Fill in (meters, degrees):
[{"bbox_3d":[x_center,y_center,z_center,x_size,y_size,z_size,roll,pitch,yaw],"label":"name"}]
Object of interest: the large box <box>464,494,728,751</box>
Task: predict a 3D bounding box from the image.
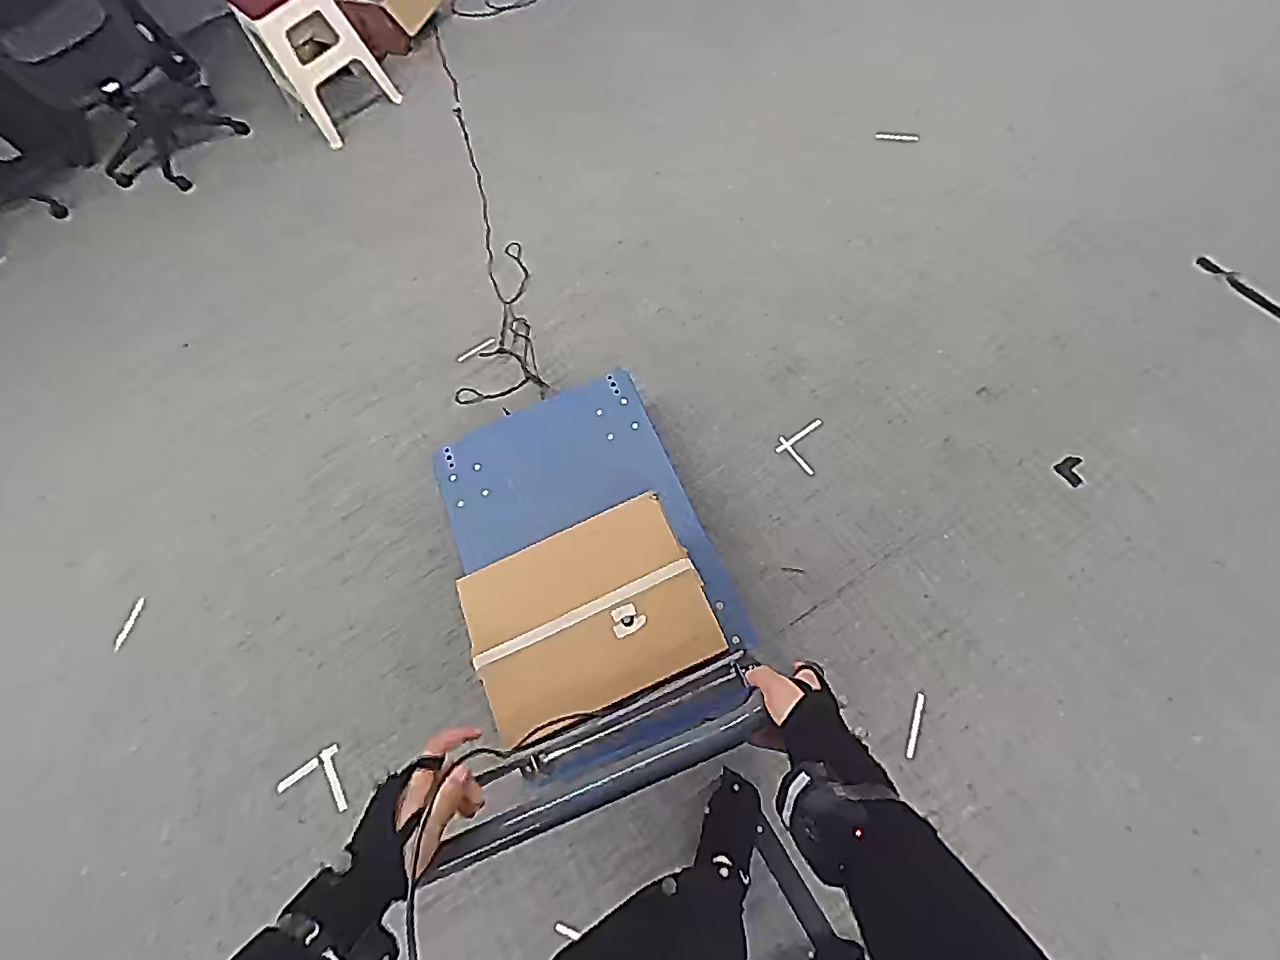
[{"bbox_3d":[-0.071,0.292,1.082,0.408,0.320,0.320,-25,67,-2],"label":"large box"}]
